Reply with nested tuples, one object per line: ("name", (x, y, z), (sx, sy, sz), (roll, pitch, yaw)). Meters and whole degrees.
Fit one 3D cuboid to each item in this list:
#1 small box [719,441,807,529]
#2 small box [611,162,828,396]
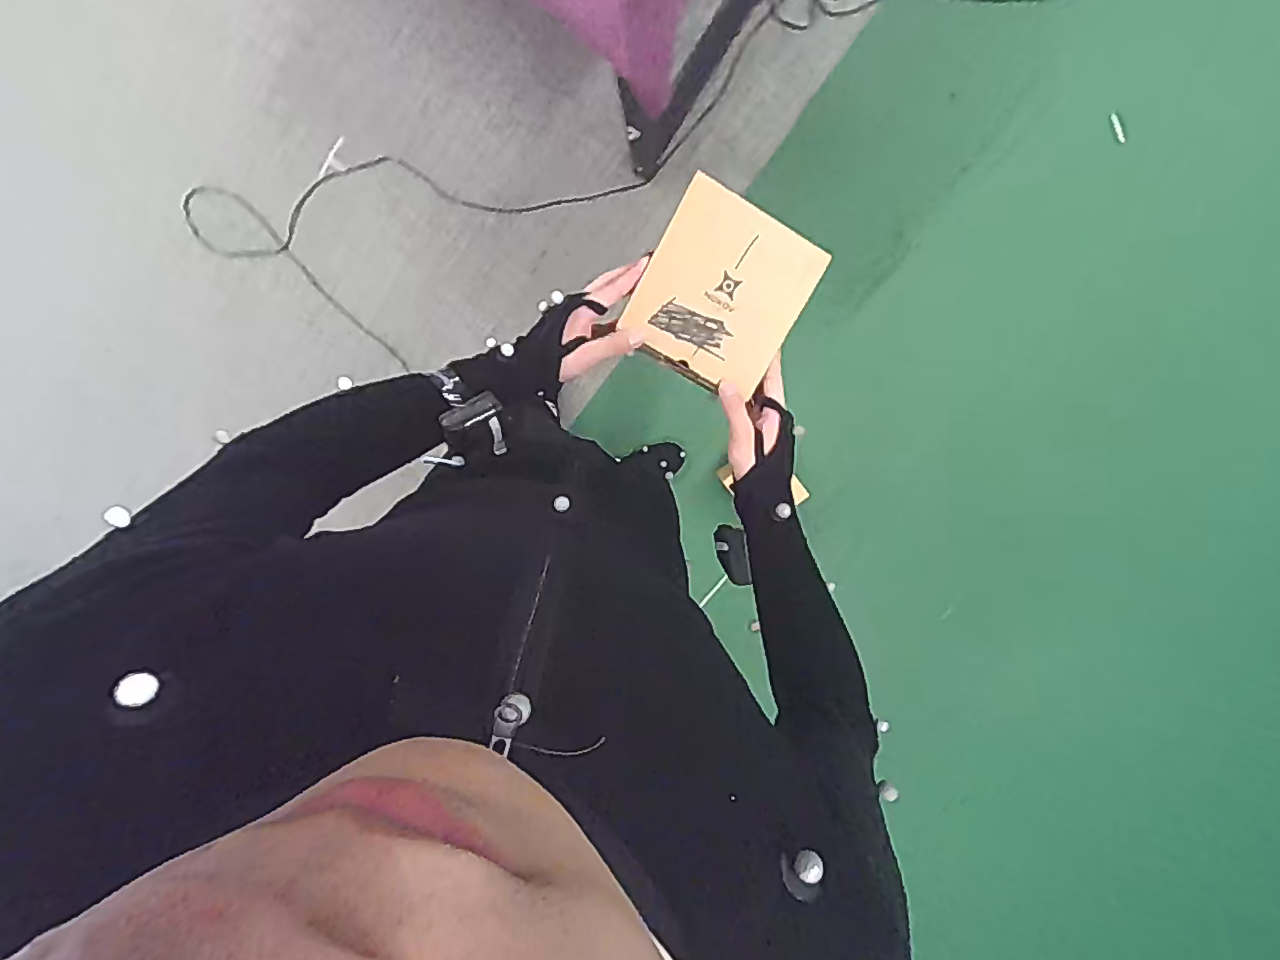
("small box", (0.340, 0.007, 1.526), (0.168, 0.176, 0.179), (-37, 95, 8))
("small box", (0.078, -0.217, 0.628), (0.168, 0.176, 0.179), (27, 100, -9))
